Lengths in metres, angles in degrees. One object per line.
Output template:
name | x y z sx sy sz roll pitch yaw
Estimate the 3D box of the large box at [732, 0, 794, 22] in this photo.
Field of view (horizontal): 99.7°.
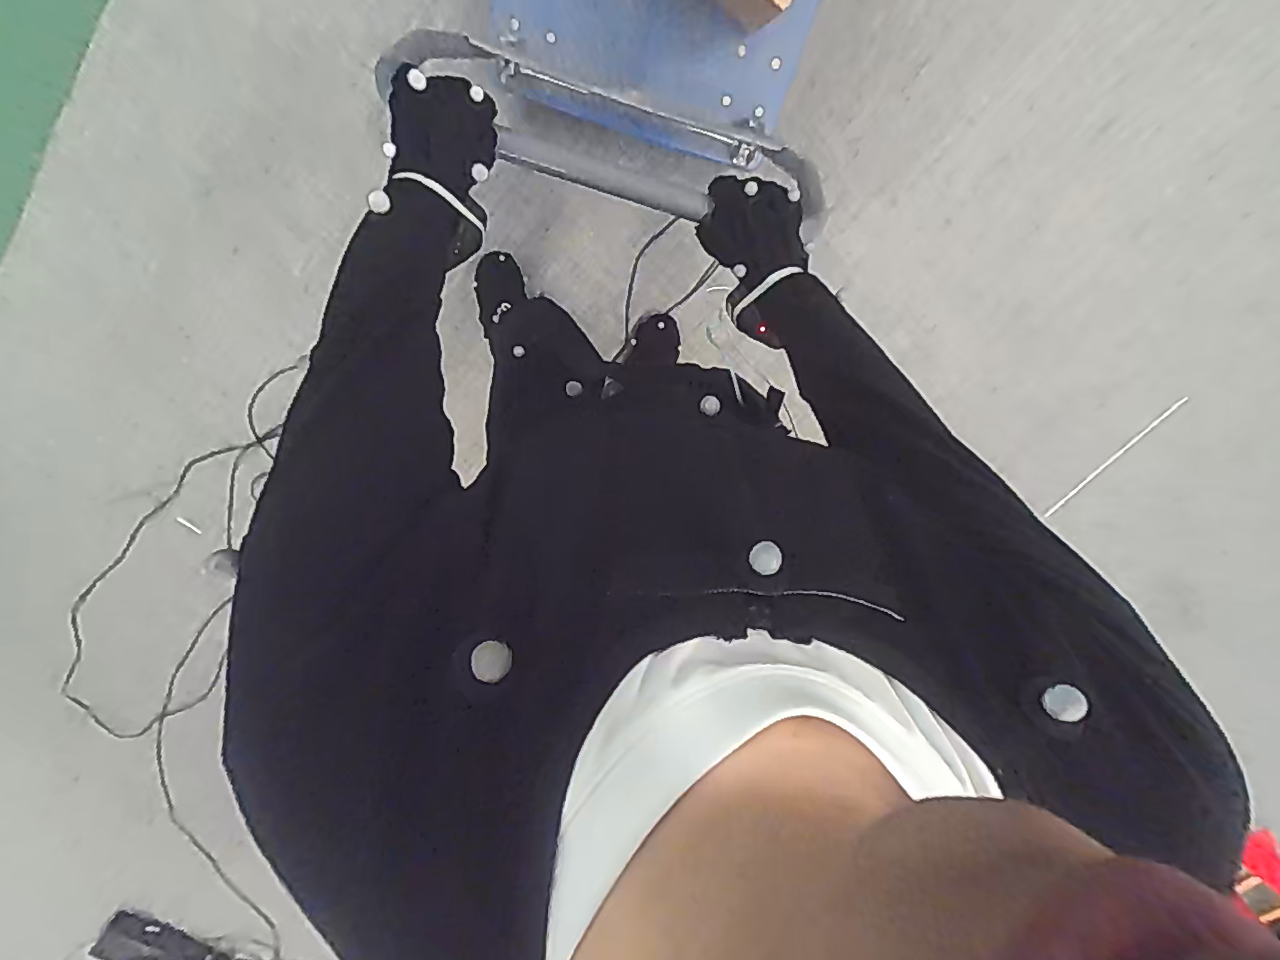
large box | 0.130 -0.943 0.749 0.408 0.320 0.320 28 121 -16
